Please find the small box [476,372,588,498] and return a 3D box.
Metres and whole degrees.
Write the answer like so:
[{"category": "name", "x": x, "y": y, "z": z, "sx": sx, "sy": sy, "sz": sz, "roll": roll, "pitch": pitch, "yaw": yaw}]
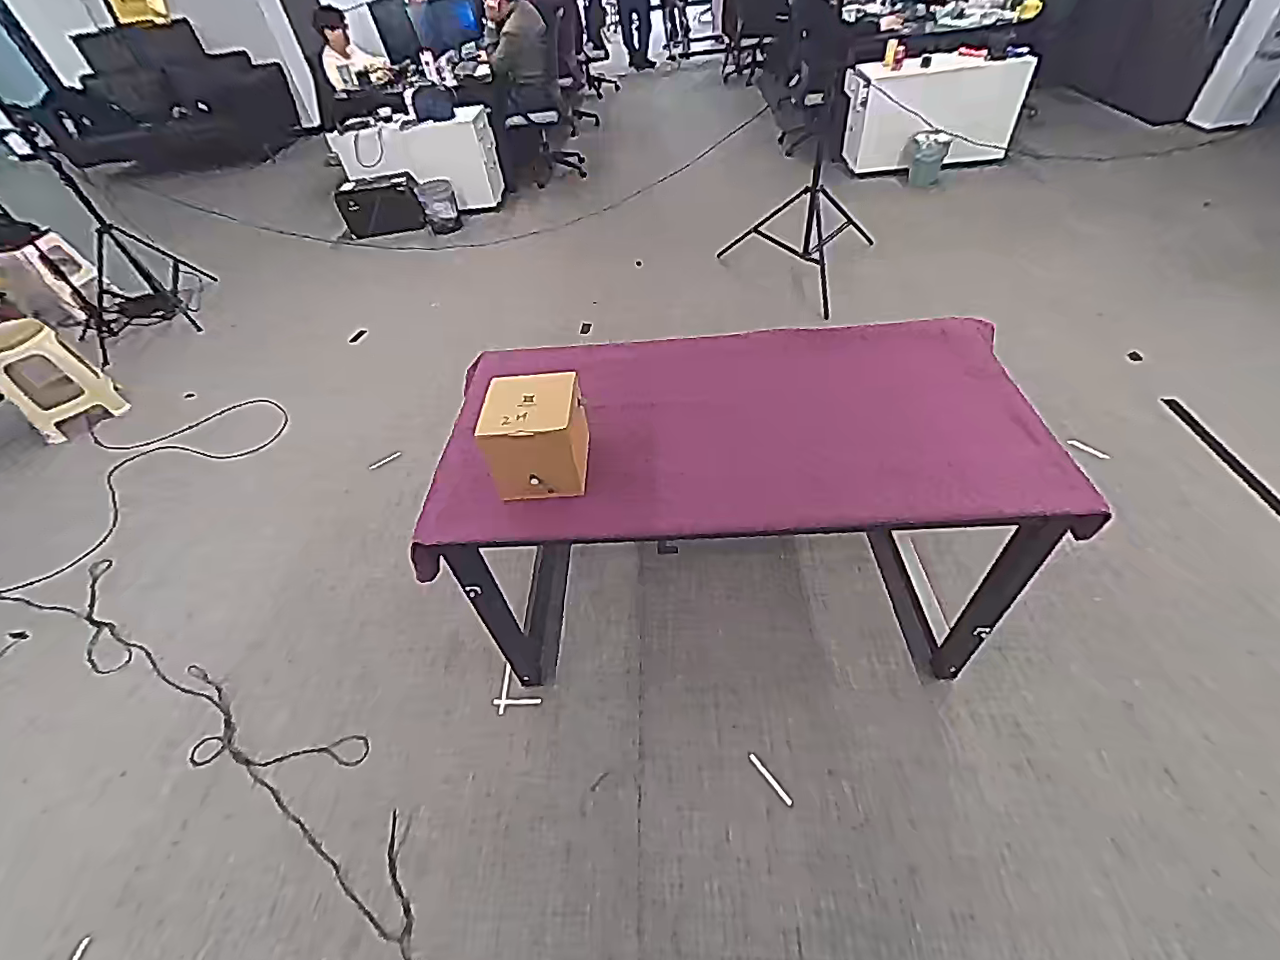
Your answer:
[{"category": "small box", "x": -0.196, "y": -0.085, "z": 1.040, "sx": 0.168, "sy": 0.176, "sz": 0.179, "roll": -4, "pitch": 46, "yaw": 4}]
